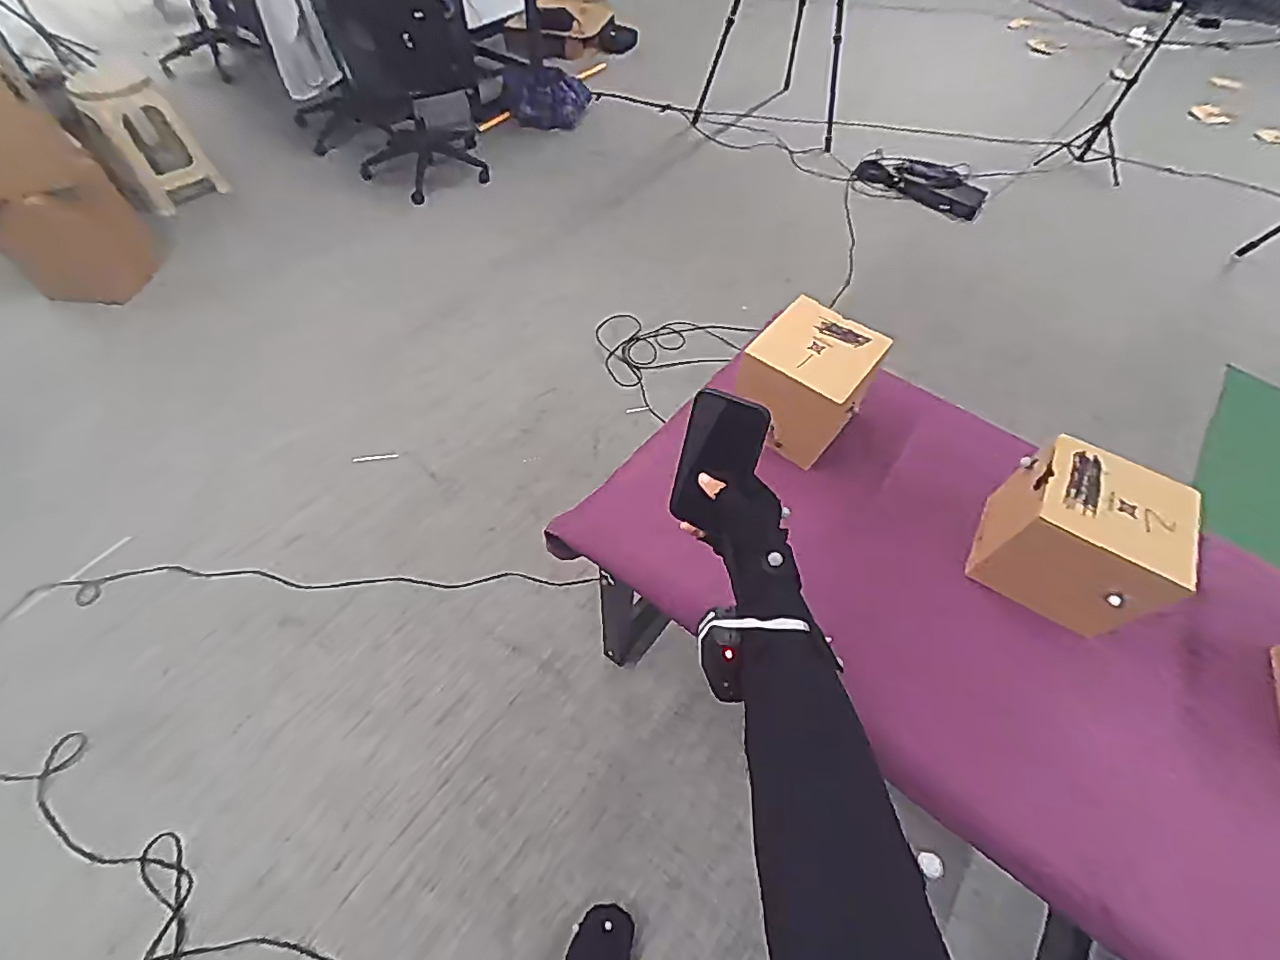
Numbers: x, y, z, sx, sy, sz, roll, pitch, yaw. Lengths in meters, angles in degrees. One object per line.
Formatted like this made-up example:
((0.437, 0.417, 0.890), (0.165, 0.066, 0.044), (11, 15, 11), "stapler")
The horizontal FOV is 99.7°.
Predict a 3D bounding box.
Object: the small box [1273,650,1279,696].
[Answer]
((0.898, 0.280, 0.613), (0.168, 0.176, 0.179), (25, 58, 14), "small box")

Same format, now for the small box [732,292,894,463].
((0.268, -0.163, 0.877), (0.168, 0.176, 0.179), (36, 63, 19), "small box")
